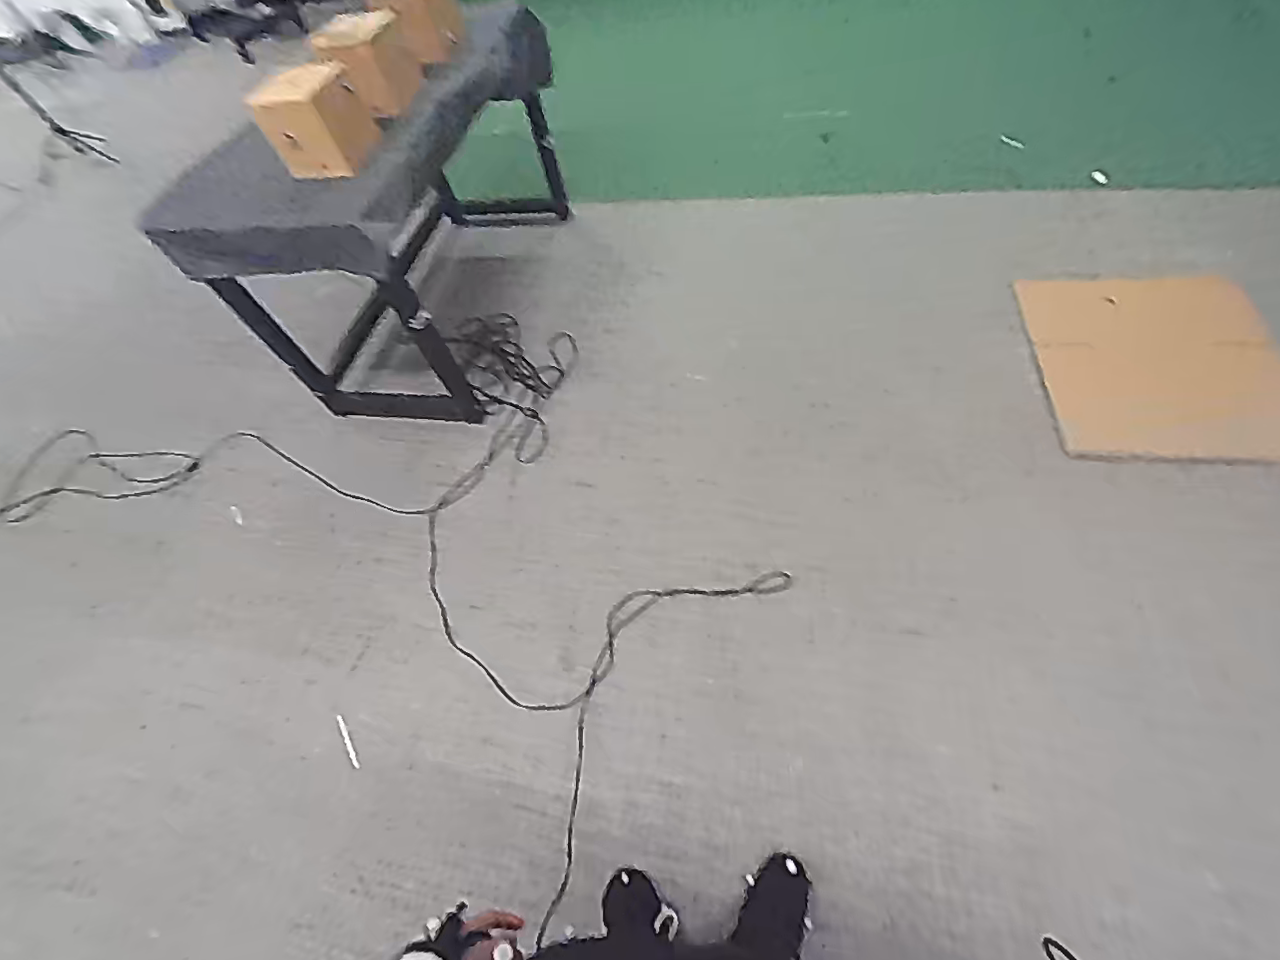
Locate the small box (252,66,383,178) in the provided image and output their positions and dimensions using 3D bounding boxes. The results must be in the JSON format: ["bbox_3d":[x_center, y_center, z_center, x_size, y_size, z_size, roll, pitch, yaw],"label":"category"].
[{"bbox_3d":[-0.742,-0.832,1.271,0.168,0.176,0.179,4,58,13],"label":"small box"}]

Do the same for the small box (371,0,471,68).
[{"bbox_3d":[-0.628,-1.330,1.570,0.179,0.176,0.168,11,62,15],"label":"small box"}]
